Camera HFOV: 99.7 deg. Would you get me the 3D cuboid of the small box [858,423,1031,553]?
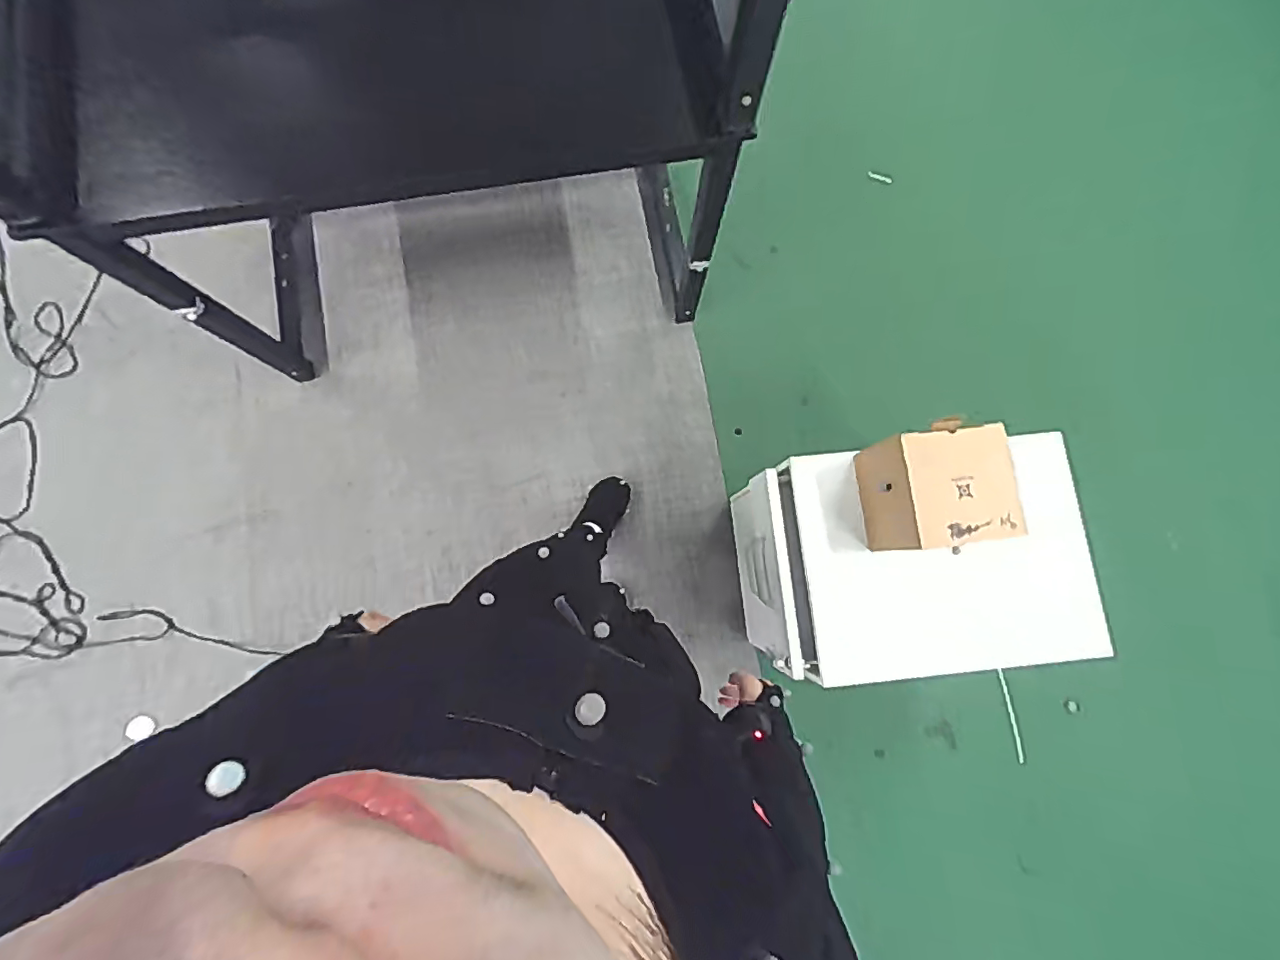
[{"bbox_3d":[0.471,0.020,0.865,0.168,0.176,0.179,-6,82,-3],"label":"small box"}]
